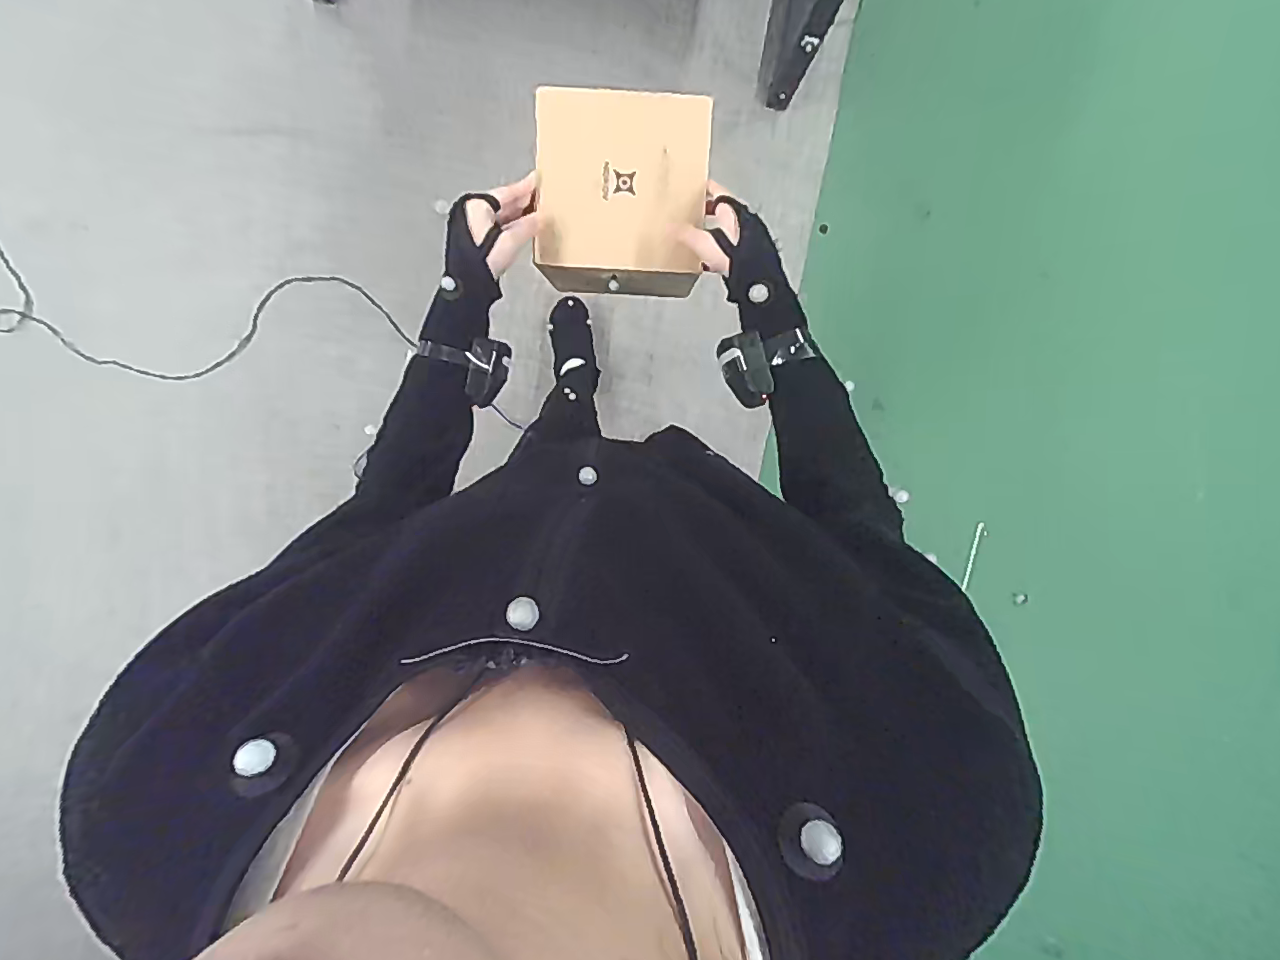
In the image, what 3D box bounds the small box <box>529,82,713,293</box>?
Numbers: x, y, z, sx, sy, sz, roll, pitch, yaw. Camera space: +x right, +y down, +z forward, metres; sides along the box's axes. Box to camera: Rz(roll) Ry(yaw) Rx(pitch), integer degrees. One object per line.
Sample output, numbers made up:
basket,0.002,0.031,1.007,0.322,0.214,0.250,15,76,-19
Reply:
small box,-0.020,-0.315,0.616,0.179,0.176,0.168,3,100,-1
